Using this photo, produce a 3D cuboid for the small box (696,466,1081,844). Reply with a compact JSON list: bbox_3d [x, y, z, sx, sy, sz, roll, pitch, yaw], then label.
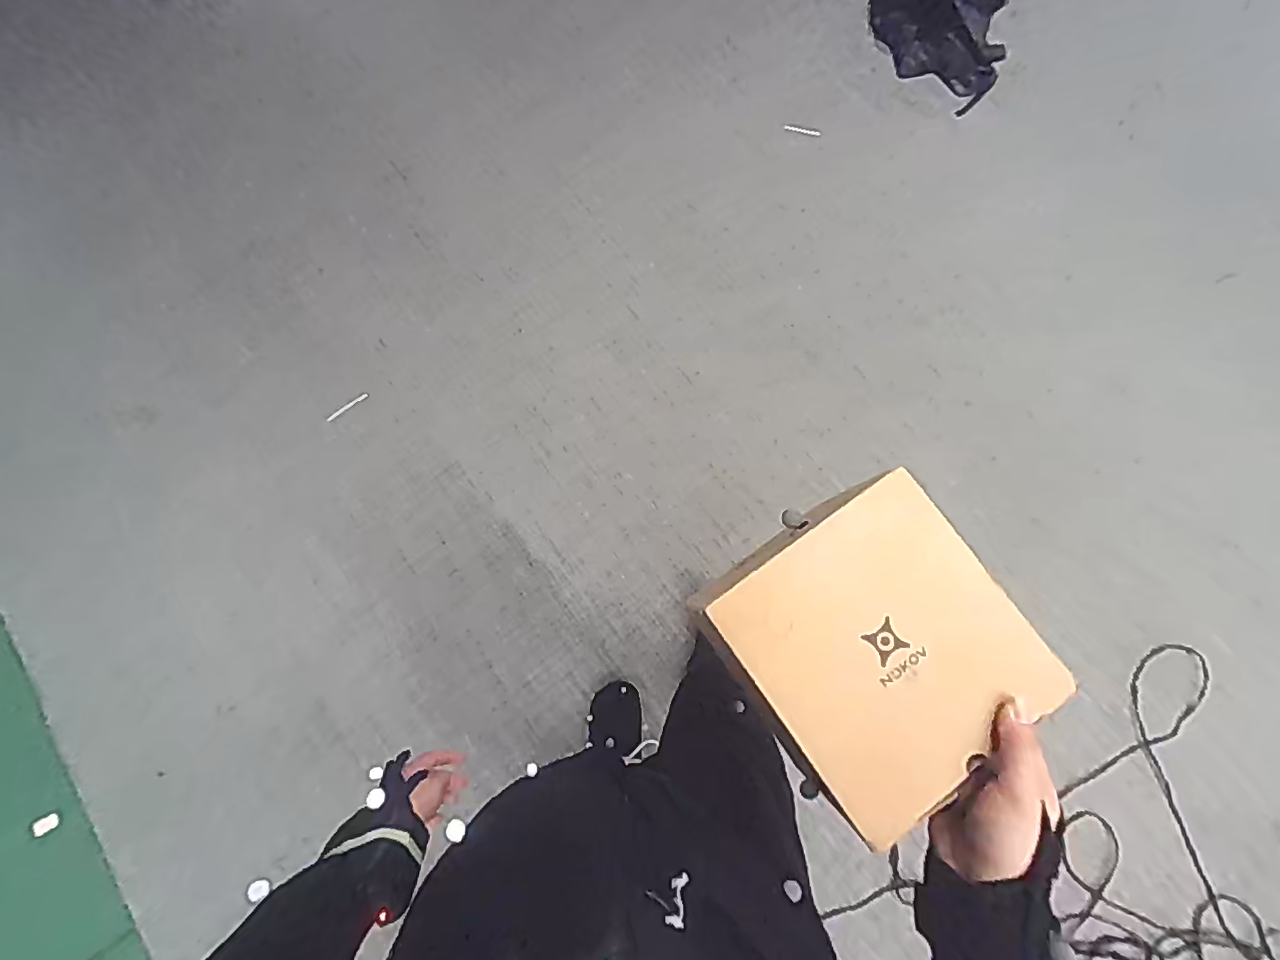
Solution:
[{"bbox_3d":[0.161,0.119,0.419,0.168,0.176,0.179,-35,81,-8],"label":"small box"}]
